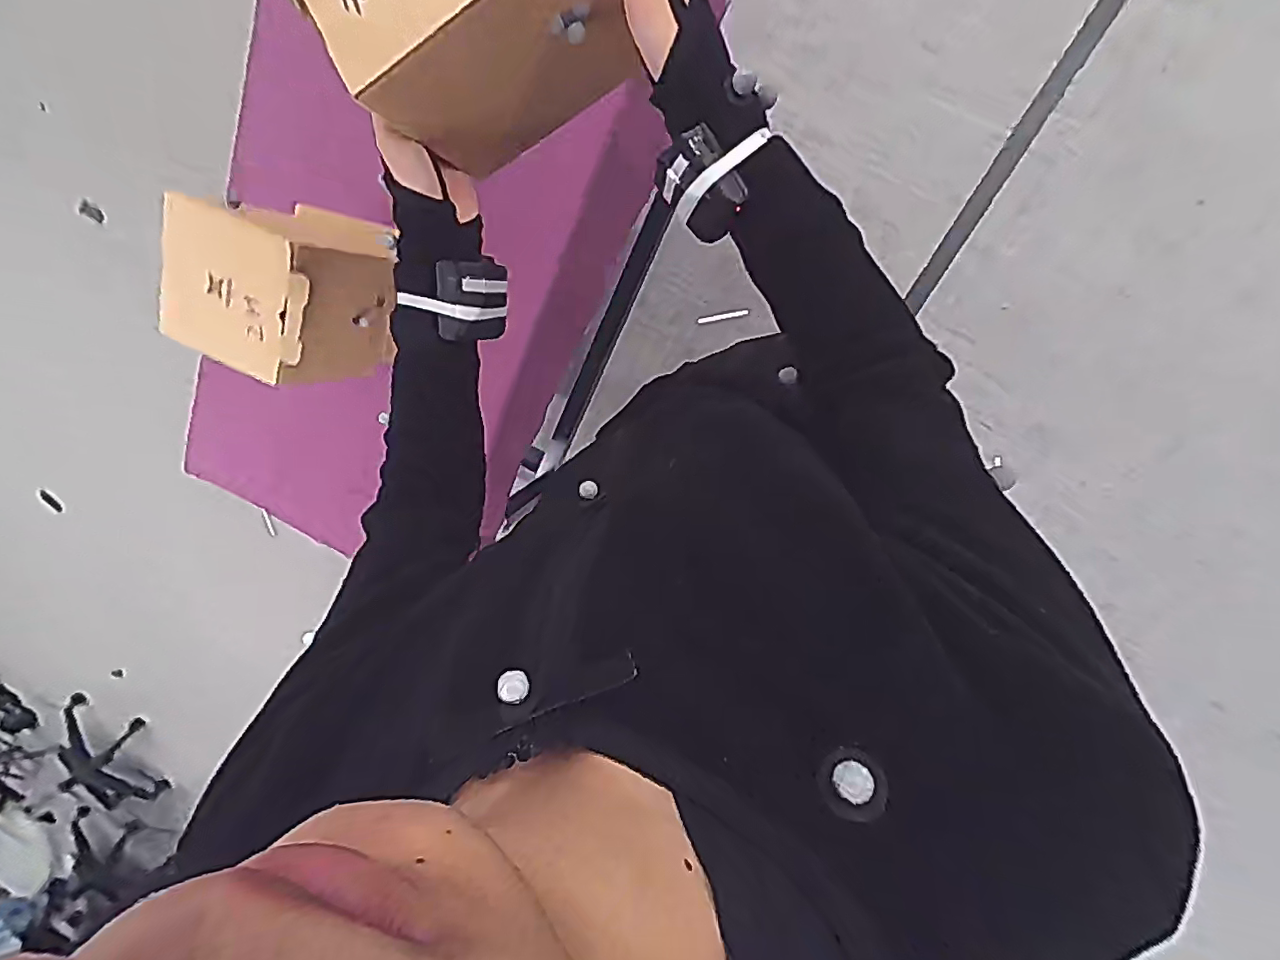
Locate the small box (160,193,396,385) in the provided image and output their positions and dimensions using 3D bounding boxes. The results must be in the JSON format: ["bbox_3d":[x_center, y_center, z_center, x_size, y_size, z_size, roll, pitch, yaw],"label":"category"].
[{"bbox_3d":[-0.450,-0.234,0.686,0.179,0.176,0.168,23,110,6],"label":"small box"}]

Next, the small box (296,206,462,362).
[{"bbox_3d":[-0.397,-0.293,0.832,0.168,0.176,0.179,18,108,8],"label":"small box"}]
